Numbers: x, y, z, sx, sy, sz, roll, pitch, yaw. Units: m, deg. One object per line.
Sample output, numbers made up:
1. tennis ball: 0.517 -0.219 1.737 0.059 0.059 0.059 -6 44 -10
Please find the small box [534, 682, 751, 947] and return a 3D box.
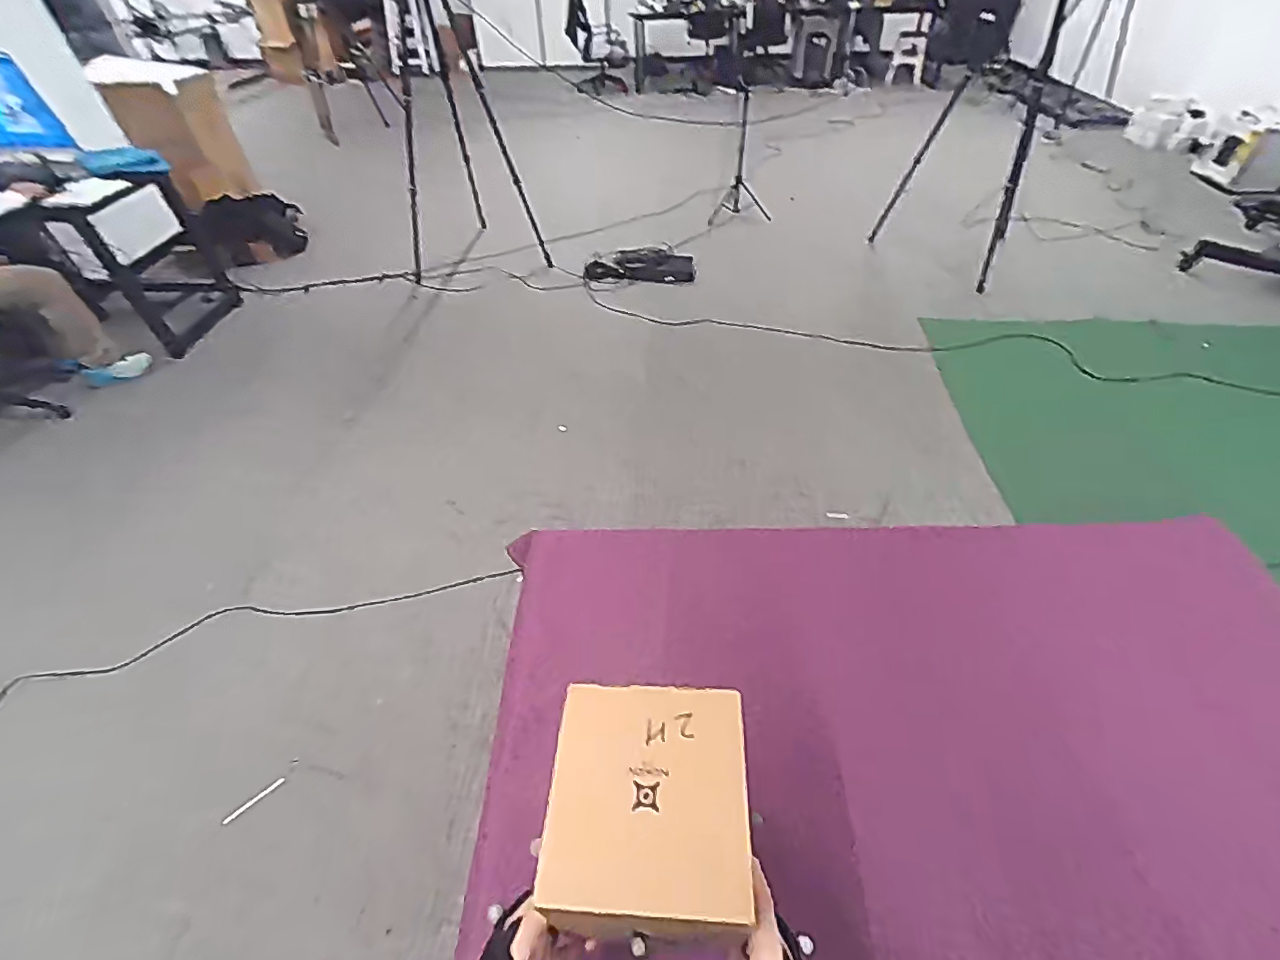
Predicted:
1. small box: 0.012 0.314 0.510 0.168 0.176 0.179 1 44 5
